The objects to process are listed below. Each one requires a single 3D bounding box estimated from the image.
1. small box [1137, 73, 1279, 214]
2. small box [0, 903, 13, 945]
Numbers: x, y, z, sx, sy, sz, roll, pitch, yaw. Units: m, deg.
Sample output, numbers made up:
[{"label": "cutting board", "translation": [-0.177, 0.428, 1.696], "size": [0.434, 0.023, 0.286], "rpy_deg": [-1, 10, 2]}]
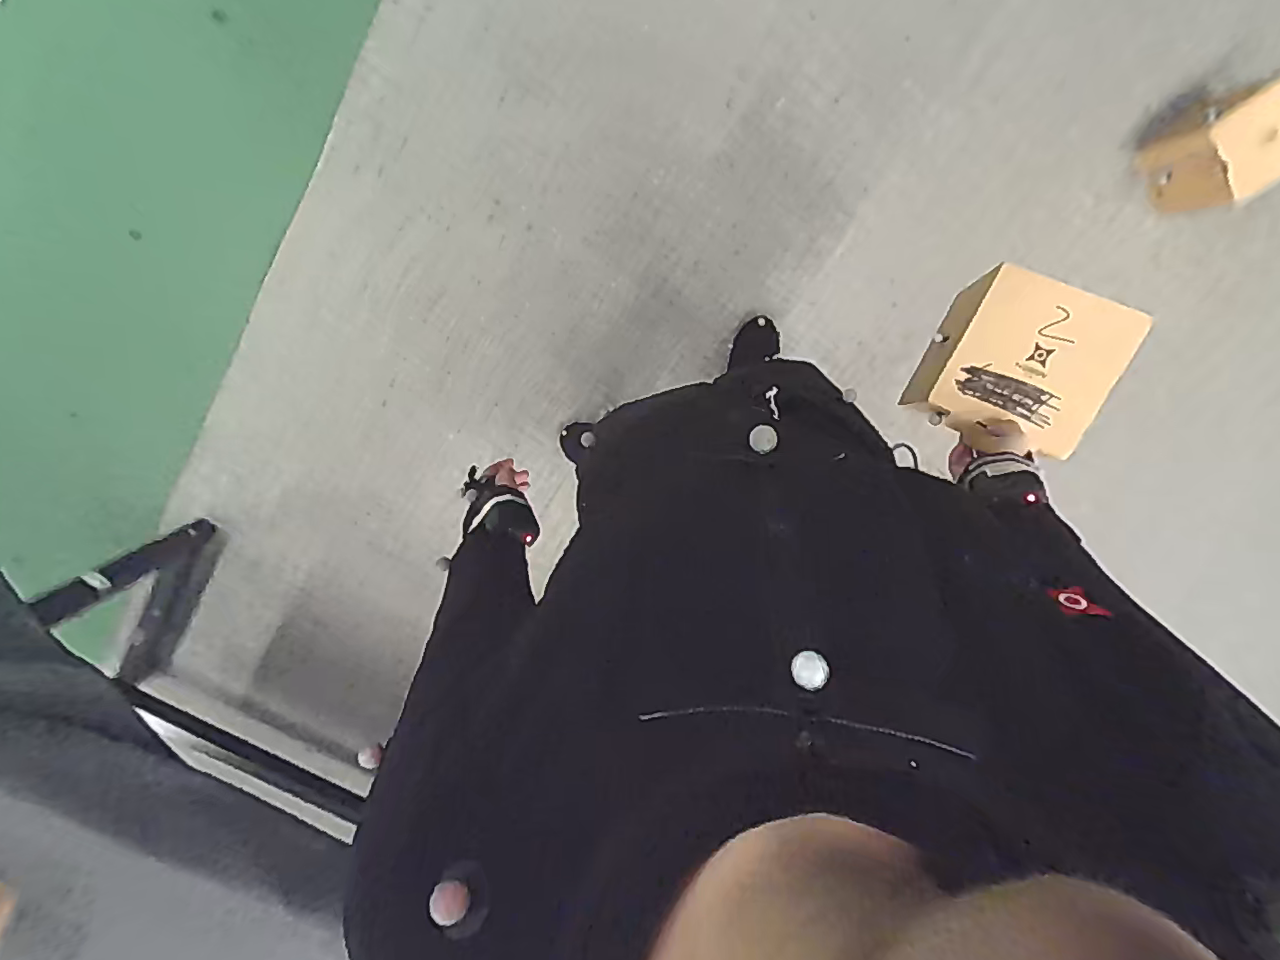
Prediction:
[{"label": "small box", "translation": [1.169, -0.665, 1.078], "size": [0.179, 0.176, 0.168], "rpy_deg": [-36, 104, 11]}, {"label": "small box", "translation": [-1.070, 0.695, 0.765], "size": [0.168, 0.176, 0.179], "rpy_deg": [31, 106, -8]}]
